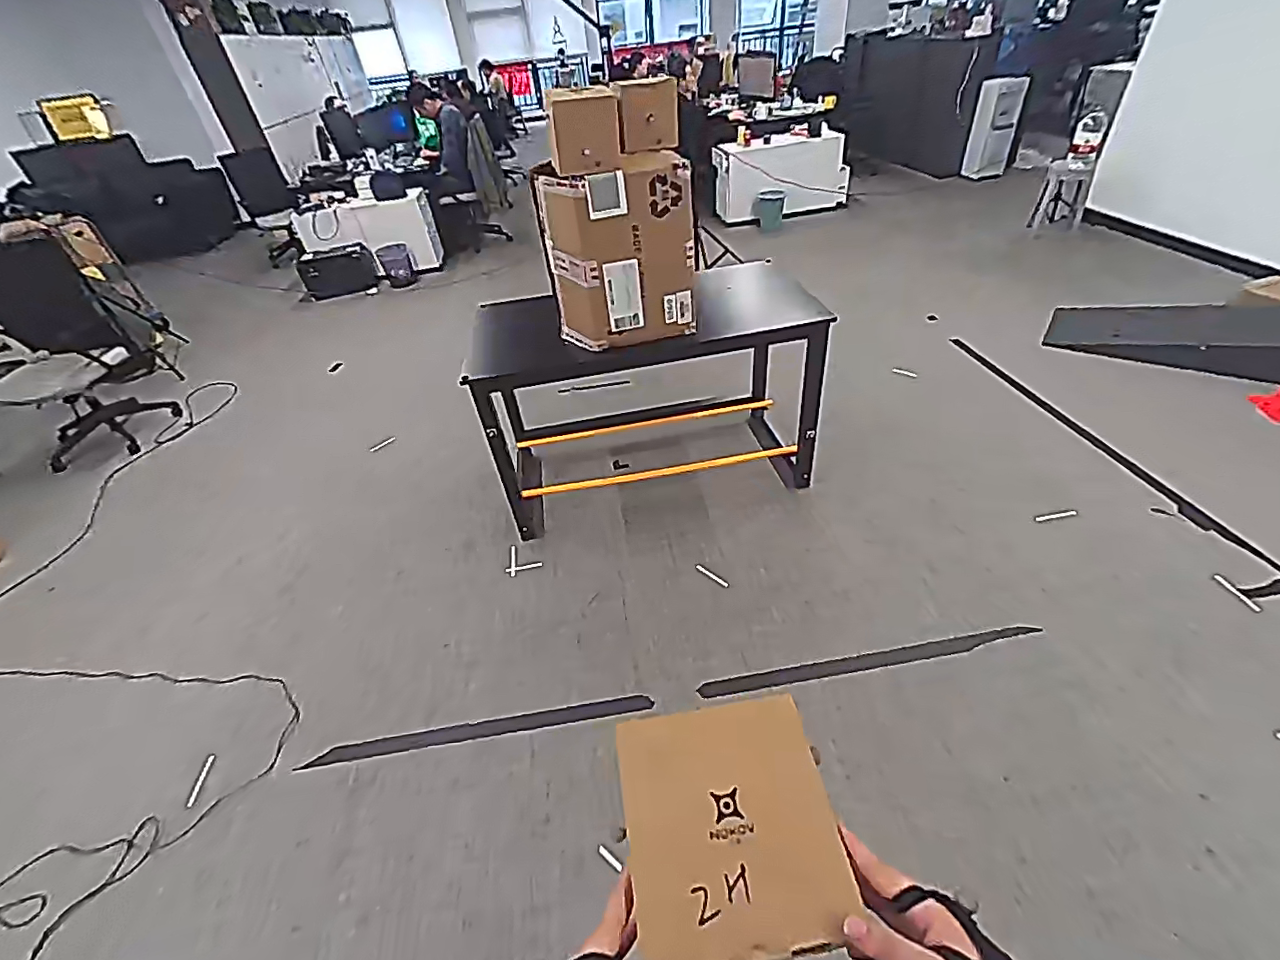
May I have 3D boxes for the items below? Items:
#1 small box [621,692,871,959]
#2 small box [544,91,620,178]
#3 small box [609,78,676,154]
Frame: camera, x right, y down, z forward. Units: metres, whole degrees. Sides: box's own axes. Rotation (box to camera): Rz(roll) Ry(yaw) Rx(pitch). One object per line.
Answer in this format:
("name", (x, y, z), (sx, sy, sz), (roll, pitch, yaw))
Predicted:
("small box", (0.077, 0.323, 0.491), (0.168, 0.176, 0.179), (-9, 46, -3))
("small box", (-0.153, -0.914, 1.430), (0.168, 0.176, 0.179), (-12, 42, -8))
("small box", (0.010, -1.091, 1.624), (0.168, 0.176, 0.179), (-11, 40, -8))
